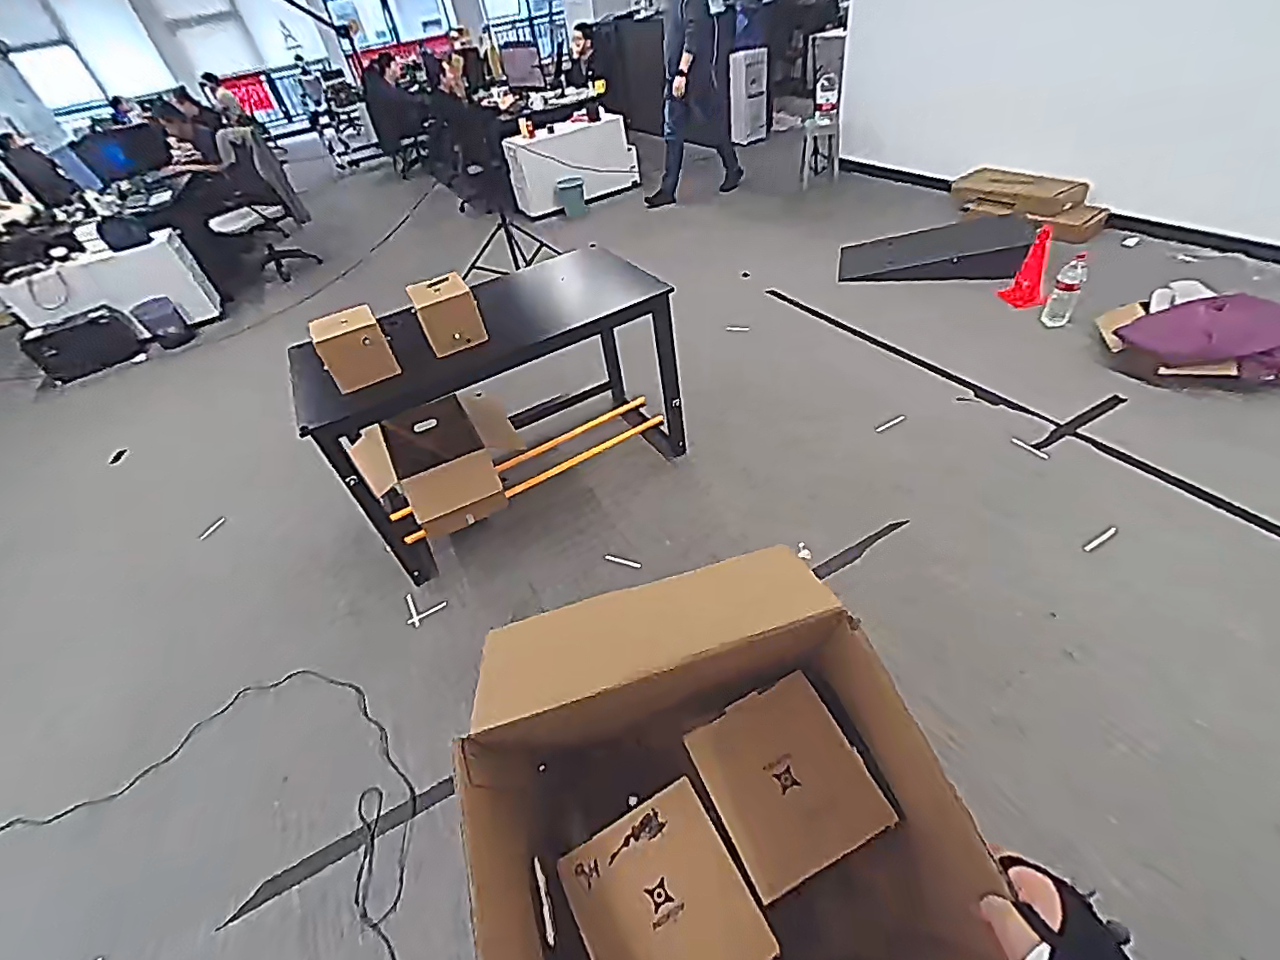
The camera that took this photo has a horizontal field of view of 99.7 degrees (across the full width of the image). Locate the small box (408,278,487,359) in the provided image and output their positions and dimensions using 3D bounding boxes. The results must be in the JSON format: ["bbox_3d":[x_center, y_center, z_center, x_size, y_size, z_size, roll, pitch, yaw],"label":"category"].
[{"bbox_3d":[-0.603,-0.507,1.699,0.168,0.176,0.179,-26,45,-15],"label":"small box"}]

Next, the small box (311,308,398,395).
[{"bbox_3d":[-0.845,-0.382,1.612,0.179,0.176,0.168,-27,44,-17],"label":"small box"}]
